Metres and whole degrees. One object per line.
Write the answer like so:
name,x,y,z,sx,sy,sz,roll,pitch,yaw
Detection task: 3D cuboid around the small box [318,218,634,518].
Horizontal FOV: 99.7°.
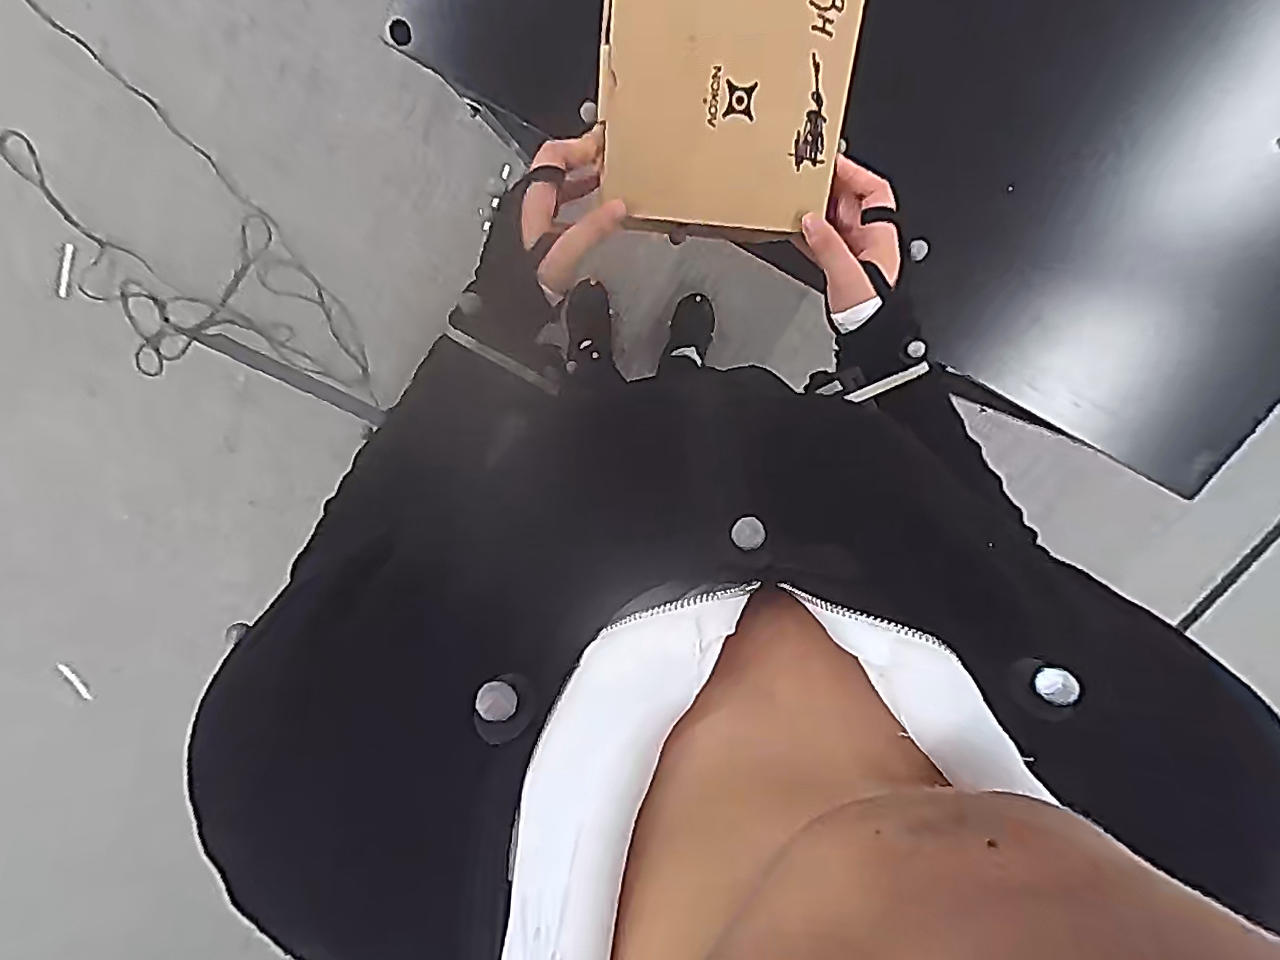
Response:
small box,-0.144,-0.086,0.457,0.179,0.168,0.176,-36,103,-28
